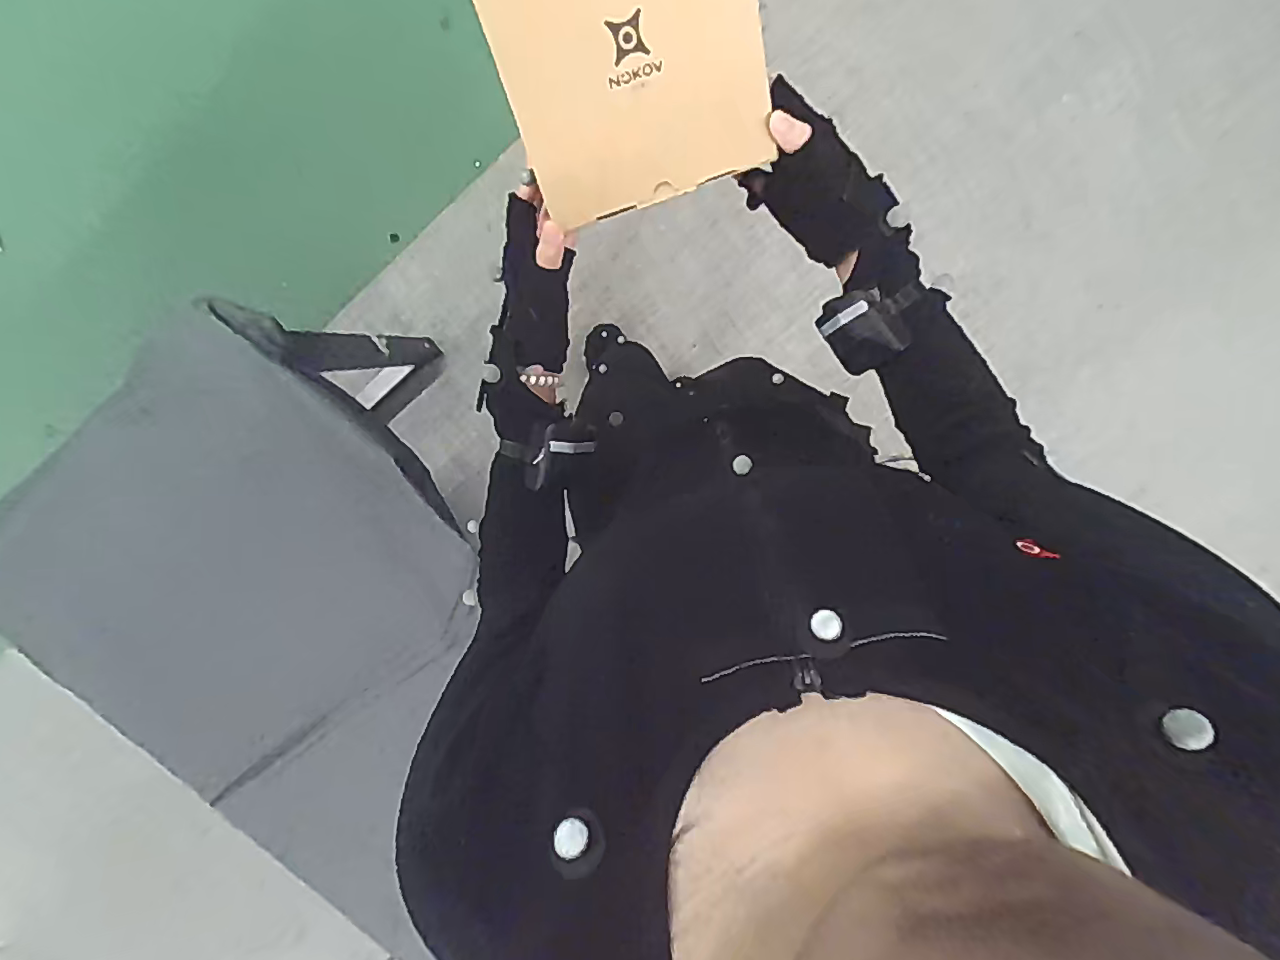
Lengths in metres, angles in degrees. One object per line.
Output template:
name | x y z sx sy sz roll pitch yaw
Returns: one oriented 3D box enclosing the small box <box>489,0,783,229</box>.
small box | -0.009 -0.312 0.401 0.168 0.176 0.179 -17 125 4
